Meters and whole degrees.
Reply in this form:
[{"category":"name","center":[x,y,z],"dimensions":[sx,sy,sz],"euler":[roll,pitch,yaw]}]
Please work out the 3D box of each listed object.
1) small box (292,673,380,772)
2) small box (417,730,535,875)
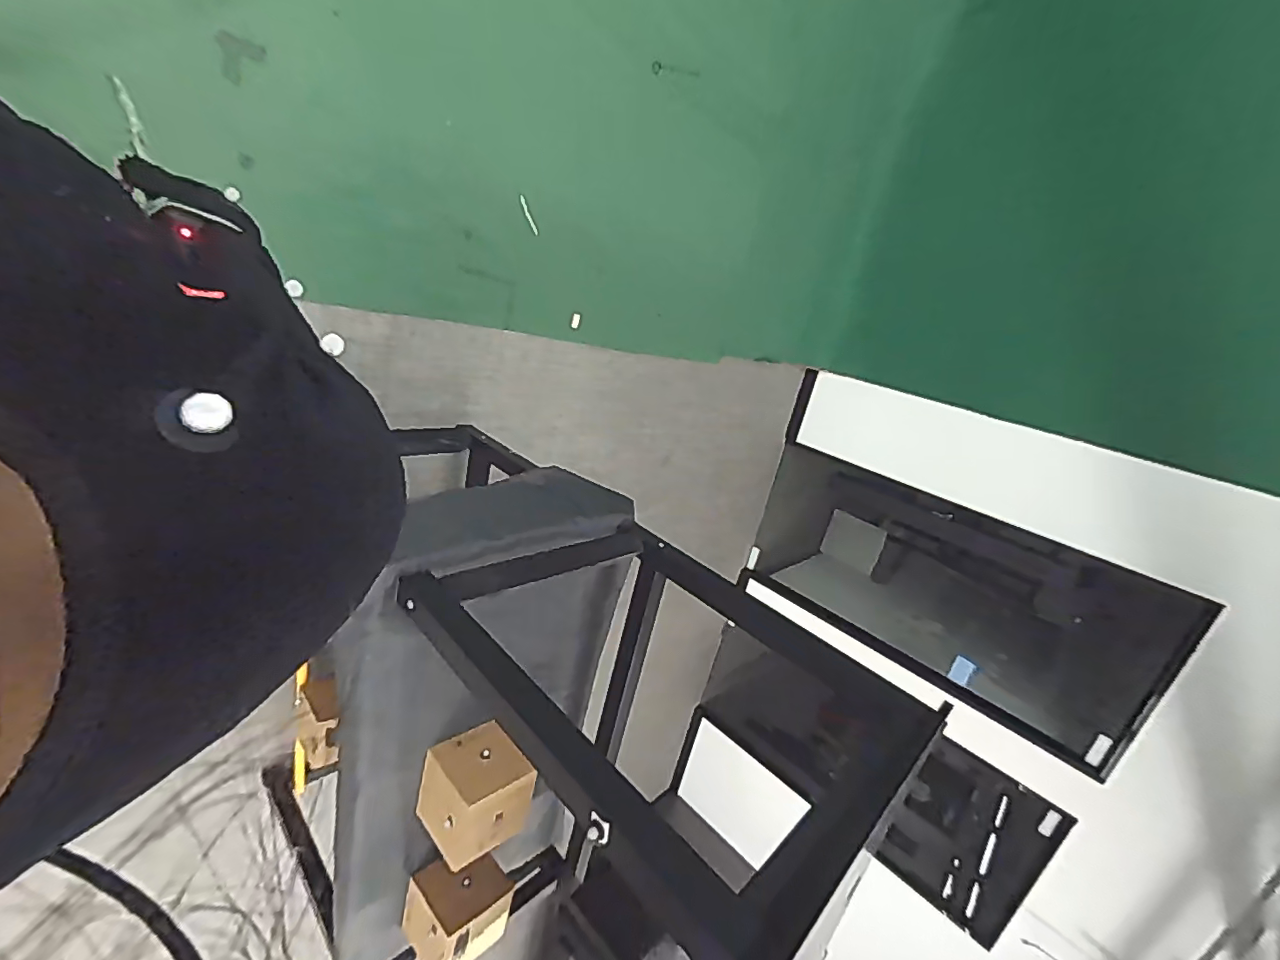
[{"category":"small box","center":[-0.886,0.693,1.567],"dimensions":[0.179,0.176,0.168],"euler":[-3,115,-49]},{"category":"small box","center":[-0.349,0.661,1.139],"dimensions":[0.168,0.176,0.179],"euler":[-4,115,-49]}]
